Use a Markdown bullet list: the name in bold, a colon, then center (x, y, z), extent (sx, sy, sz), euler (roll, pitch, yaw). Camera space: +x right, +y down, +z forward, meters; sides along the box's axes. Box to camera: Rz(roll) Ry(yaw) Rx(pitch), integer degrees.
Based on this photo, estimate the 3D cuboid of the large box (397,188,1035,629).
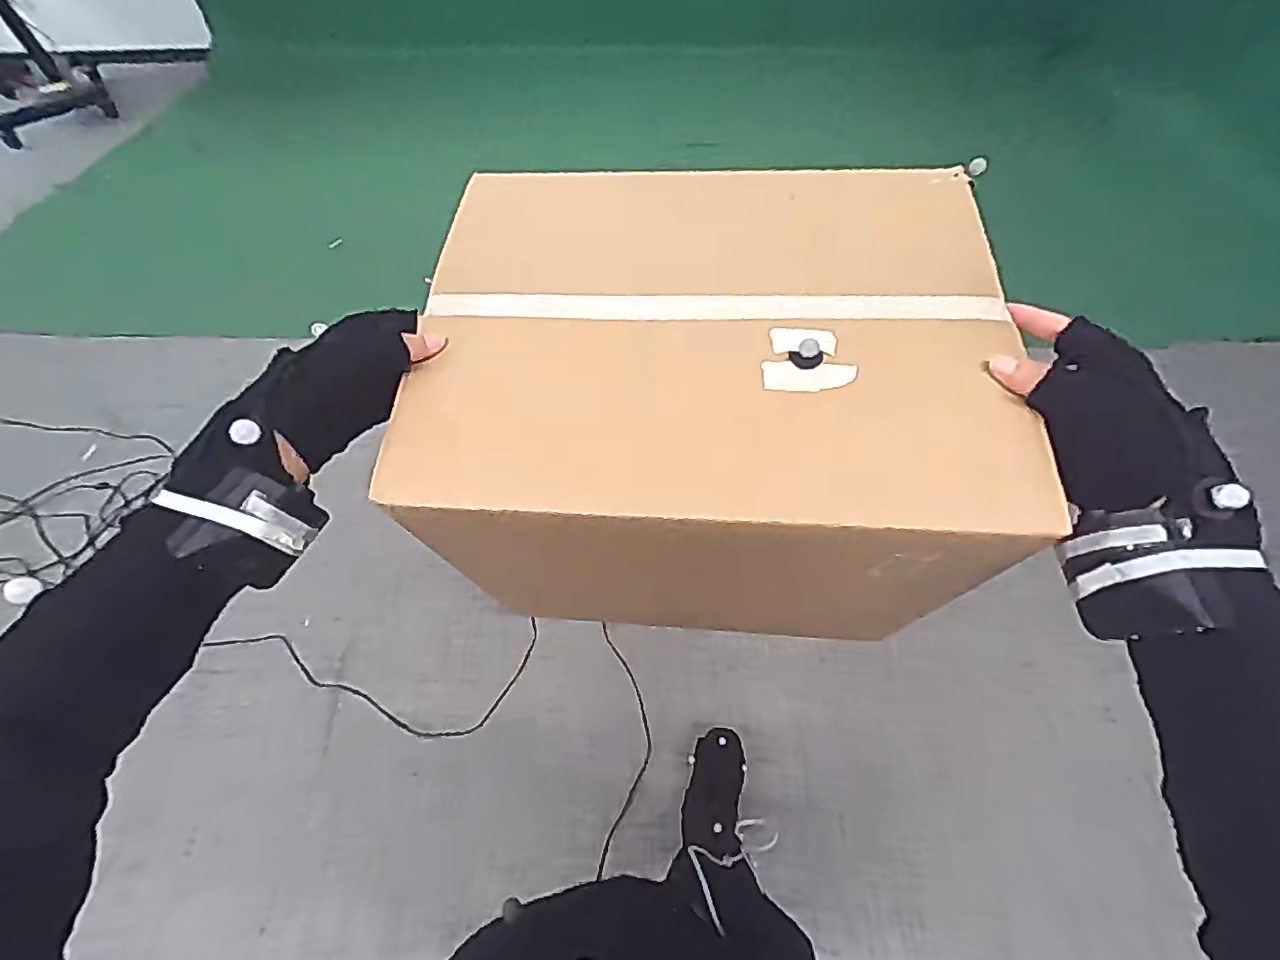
- **large box**: center (0.055, -0.045, 0.533), extent (0.408, 0.320, 0.320), euler (2, 64, 5)
